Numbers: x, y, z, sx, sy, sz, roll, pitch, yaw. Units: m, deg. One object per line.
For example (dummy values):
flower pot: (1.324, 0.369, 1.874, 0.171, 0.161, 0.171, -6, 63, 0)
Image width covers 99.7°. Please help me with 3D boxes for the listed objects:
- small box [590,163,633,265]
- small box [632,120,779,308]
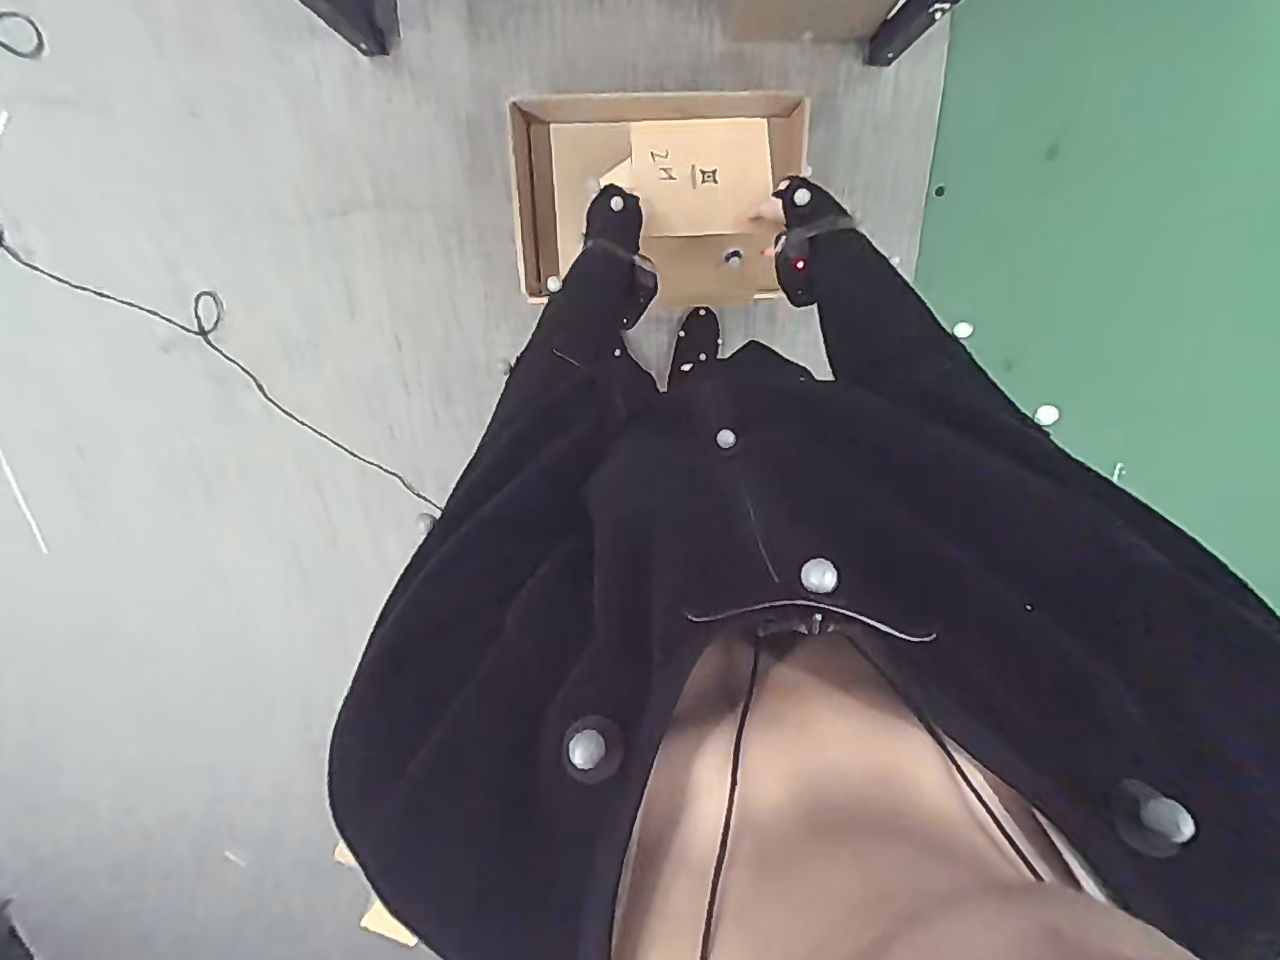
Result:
small box: (0.013, -0.593, 1.196, 0.179, 0.176, 0.168, -29, 106, 11)
small box: (0.078, -0.348, 0.733, 0.179, 0.176, 0.168, -2, 78, 1)
